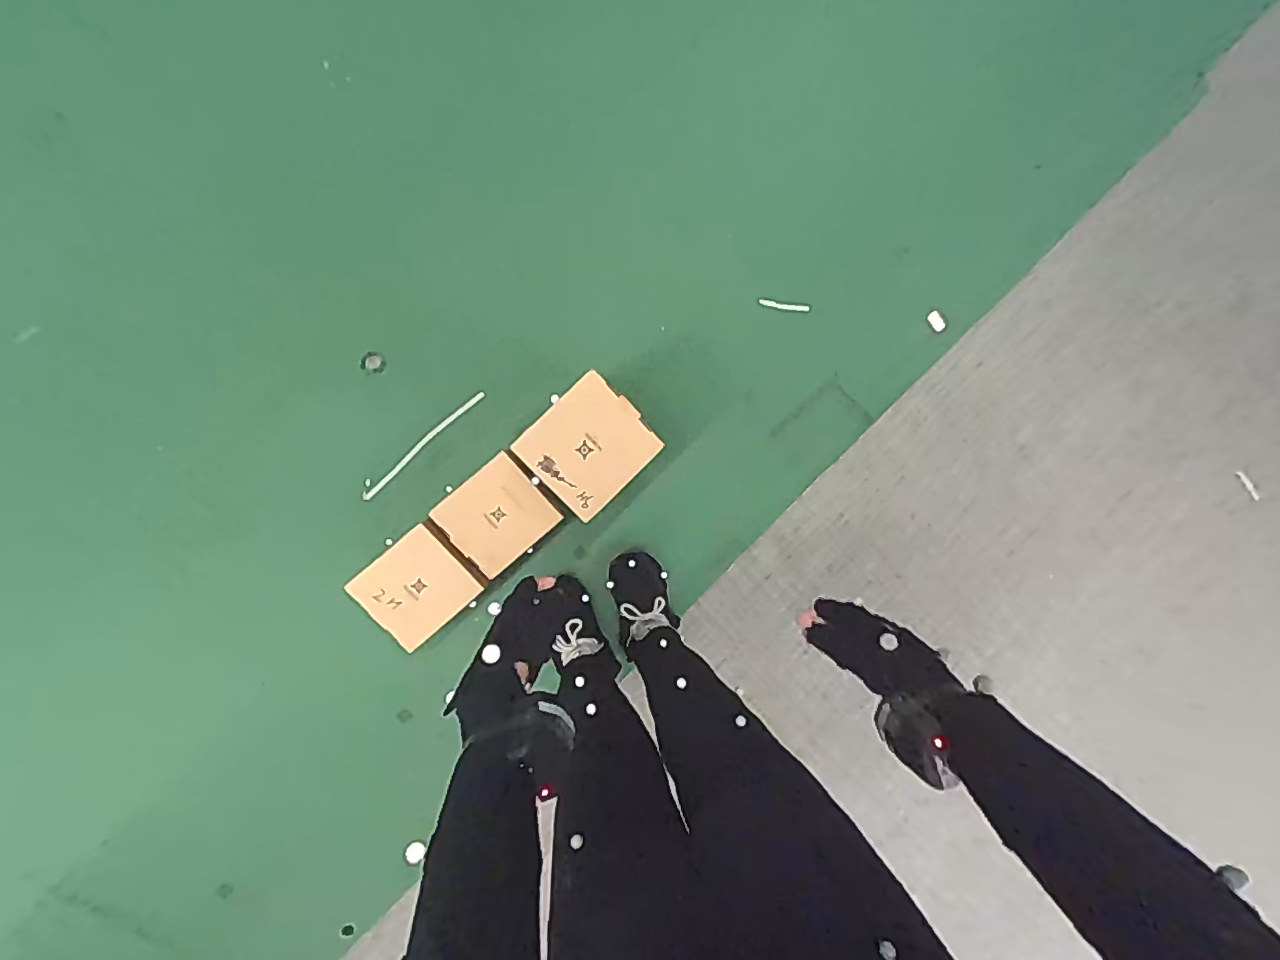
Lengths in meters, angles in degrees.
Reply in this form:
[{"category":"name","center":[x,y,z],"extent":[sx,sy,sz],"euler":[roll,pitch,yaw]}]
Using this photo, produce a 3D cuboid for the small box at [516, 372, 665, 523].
[{"category":"small box","center":[-0.088,-0.055,0.903],"extent":[0.179,0.176,0.168],"euler":[-44,100,-4]}]
